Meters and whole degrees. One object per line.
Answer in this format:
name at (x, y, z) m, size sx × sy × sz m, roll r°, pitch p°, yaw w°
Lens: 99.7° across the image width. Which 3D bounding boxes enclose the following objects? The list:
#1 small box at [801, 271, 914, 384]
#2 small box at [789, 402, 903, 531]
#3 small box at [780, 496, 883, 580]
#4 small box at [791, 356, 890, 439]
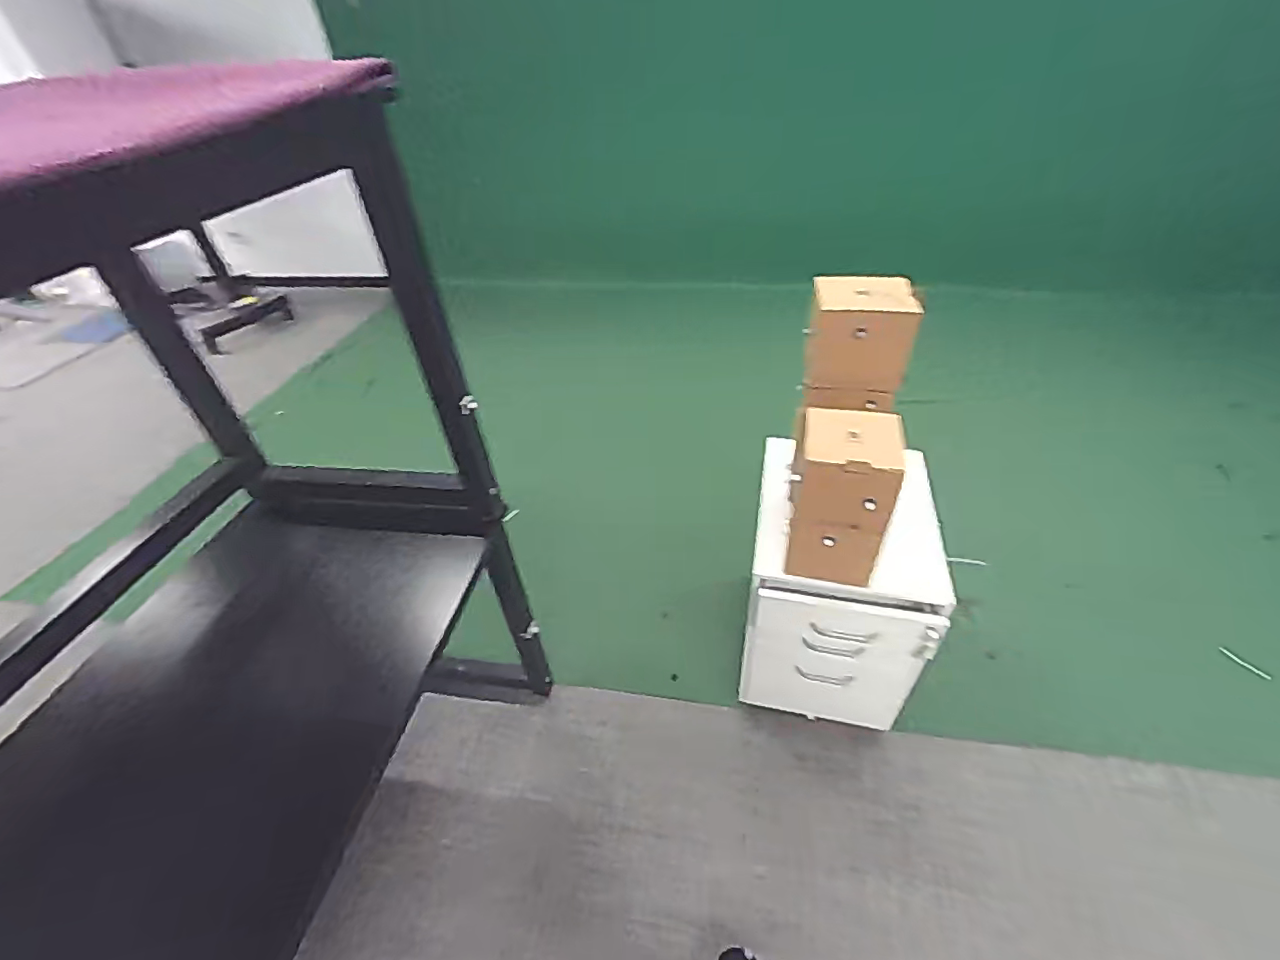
small box at (0.425, -0.307, 1.090) m, size 0.179 × 0.176 × 0.168 m, roll 5°, pitch 42°, yaw 8°
small box at (0.378, -0.025, 1.017) m, size 0.168 × 0.176 × 0.179 m, roll 7°, pitch 41°, yaw 11°
small box at (0.396, 0.087, 1.134) m, size 0.179 × 0.176 × 0.168 m, roll 9°, pitch 42°, yaw 14°
small box at (0.439, -0.186, 1.200) m, size 0.179 × 0.176 × 0.168 m, roll 10°, pitch 42°, yaw 14°
